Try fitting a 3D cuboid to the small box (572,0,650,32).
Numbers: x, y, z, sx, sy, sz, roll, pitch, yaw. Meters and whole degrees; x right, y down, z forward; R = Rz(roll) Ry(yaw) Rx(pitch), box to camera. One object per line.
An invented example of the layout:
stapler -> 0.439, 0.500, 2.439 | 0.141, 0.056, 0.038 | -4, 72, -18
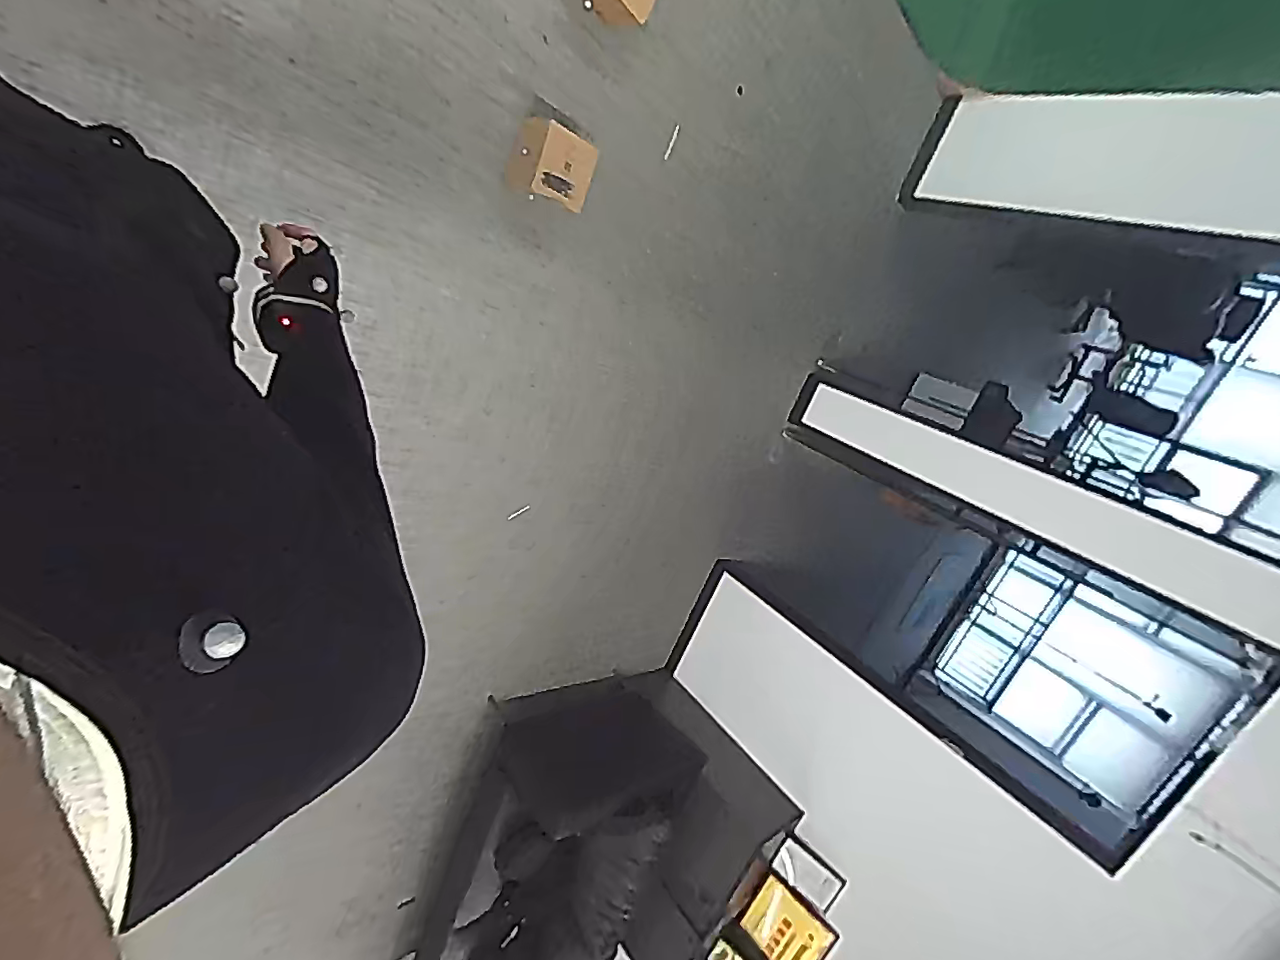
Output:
small box -> -0.072, -1.303, 1.386 | 0.168, 0.176, 0.179 | 17, 105, -48
